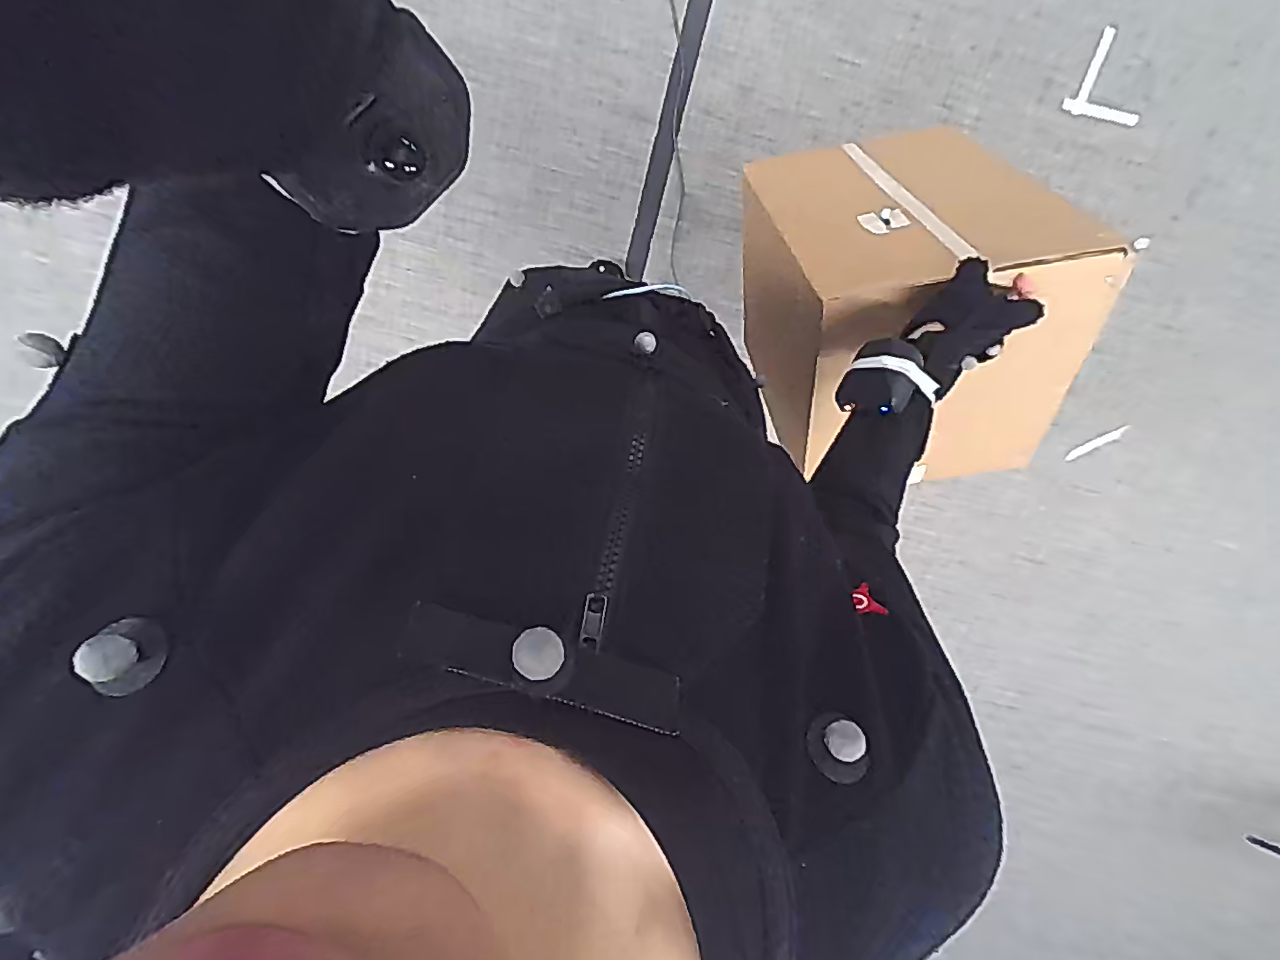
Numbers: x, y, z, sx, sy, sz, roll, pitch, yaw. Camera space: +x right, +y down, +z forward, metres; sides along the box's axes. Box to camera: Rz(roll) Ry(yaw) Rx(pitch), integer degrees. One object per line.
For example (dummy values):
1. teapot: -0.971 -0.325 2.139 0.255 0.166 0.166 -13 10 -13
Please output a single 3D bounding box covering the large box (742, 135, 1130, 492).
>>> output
1. large box: 0.344 -0.246 0.789 0.320 0.408 0.320 -10 138 3
